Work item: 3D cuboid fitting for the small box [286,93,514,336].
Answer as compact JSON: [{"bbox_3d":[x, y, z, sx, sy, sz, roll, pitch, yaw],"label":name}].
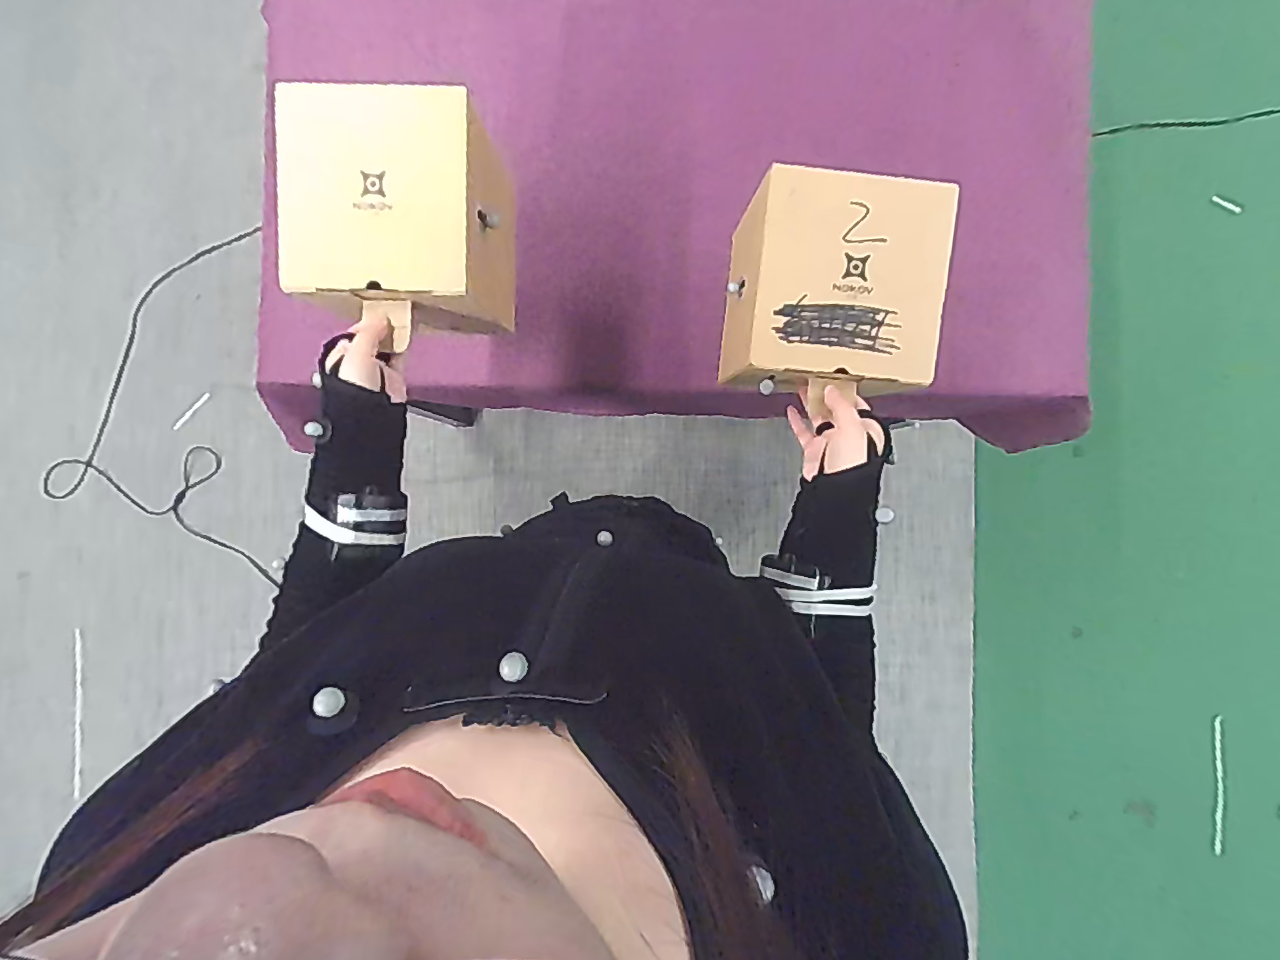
[{"bbox_3d":[-0.232,-0.257,0.561,0.168,0.176,0.179,1,95,0],"label":"small box"}]
